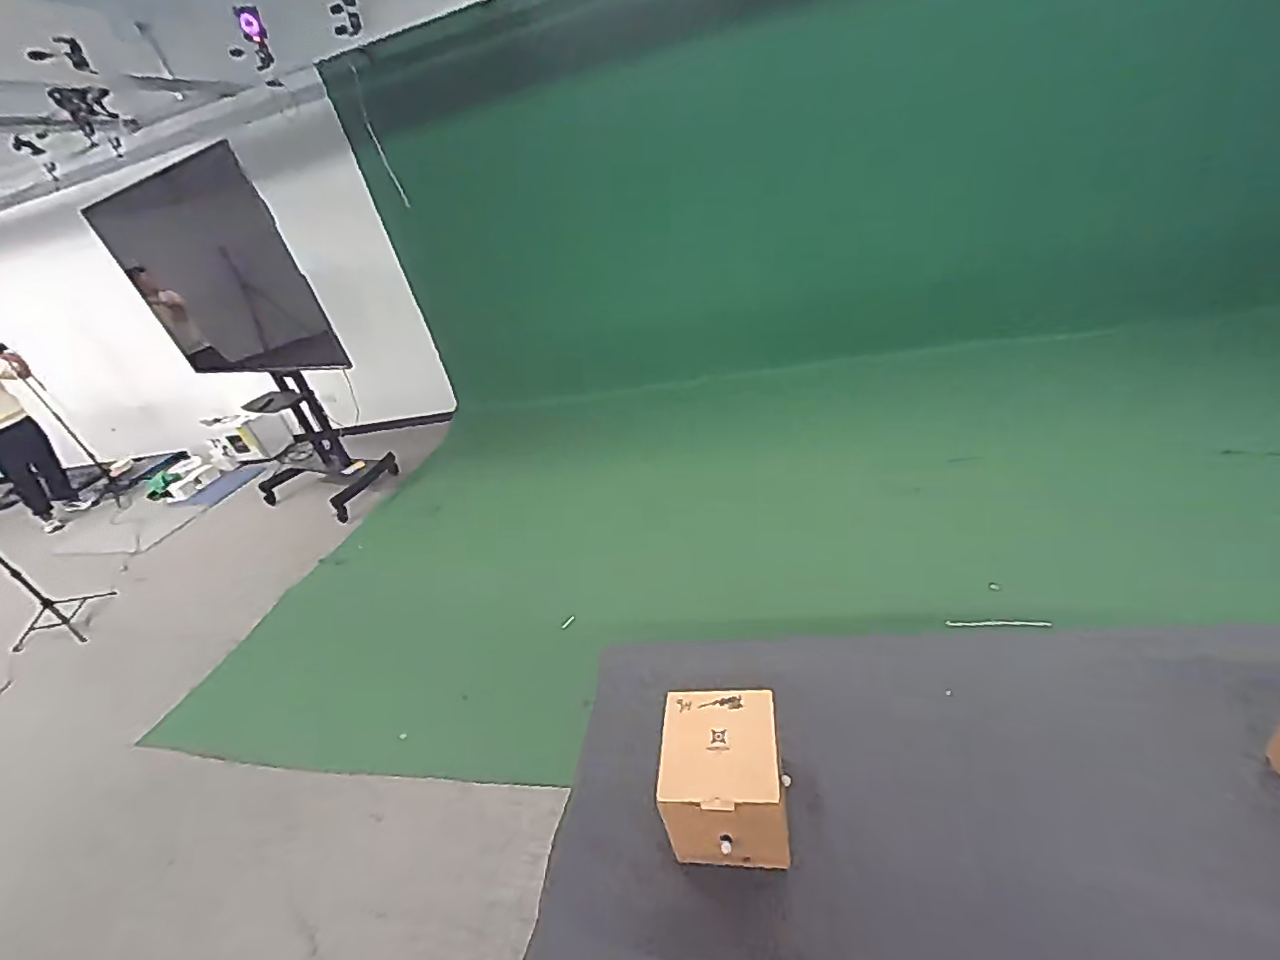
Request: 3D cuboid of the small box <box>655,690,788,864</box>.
[{"bbox_3d":[0.127,0.444,0.813,0.168,0.176,0.179,-6,31,13],"label":"small box"}]
